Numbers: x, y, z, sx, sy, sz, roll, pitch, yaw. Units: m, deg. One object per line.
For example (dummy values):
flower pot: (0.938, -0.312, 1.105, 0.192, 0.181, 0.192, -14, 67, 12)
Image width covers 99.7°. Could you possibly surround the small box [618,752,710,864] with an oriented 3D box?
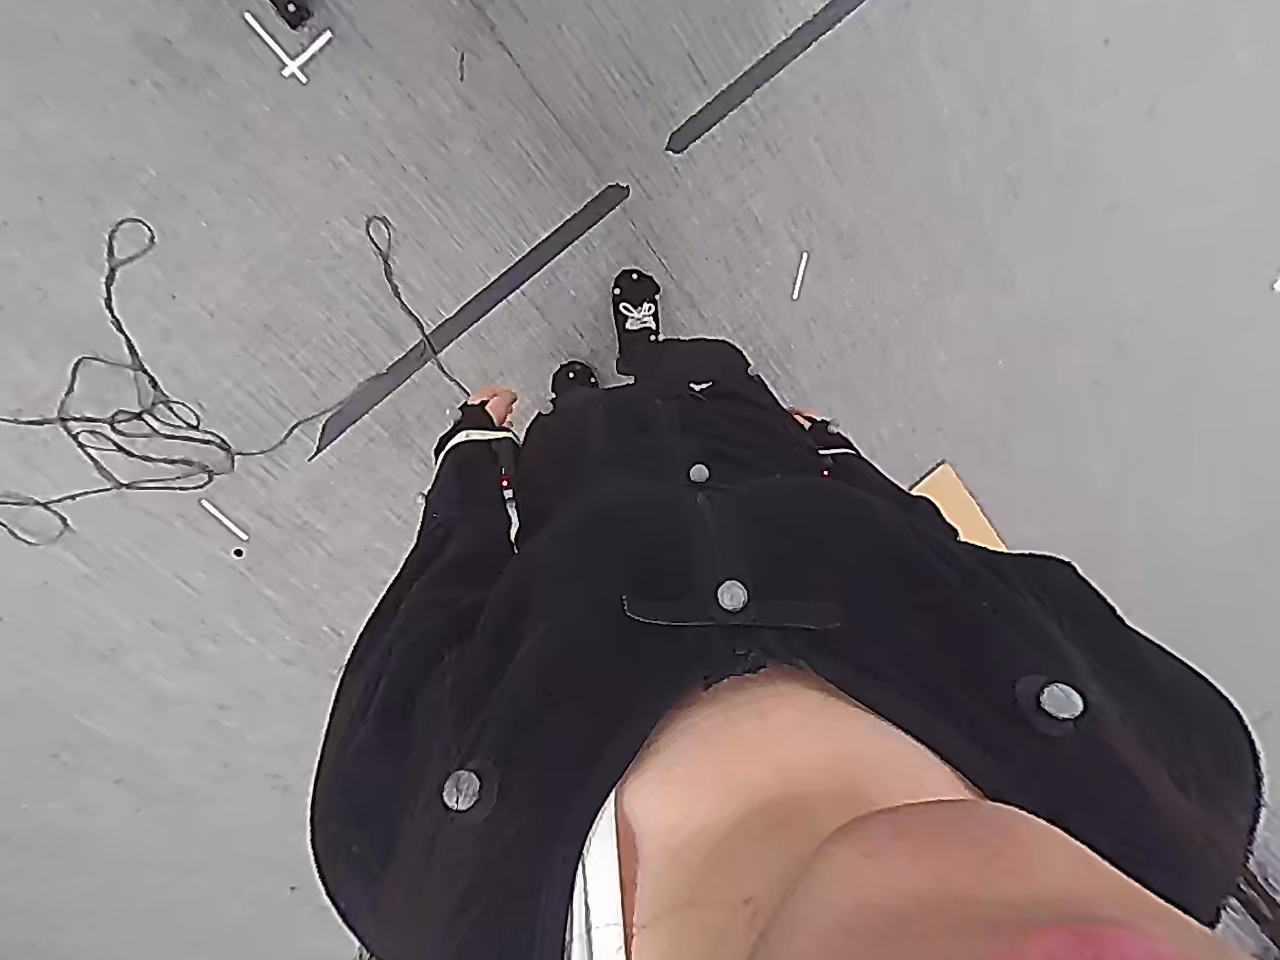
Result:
small box: (0.051, 0.790, 1.313, 0.179, 0.176, 0.168, 8, 101, -10)
